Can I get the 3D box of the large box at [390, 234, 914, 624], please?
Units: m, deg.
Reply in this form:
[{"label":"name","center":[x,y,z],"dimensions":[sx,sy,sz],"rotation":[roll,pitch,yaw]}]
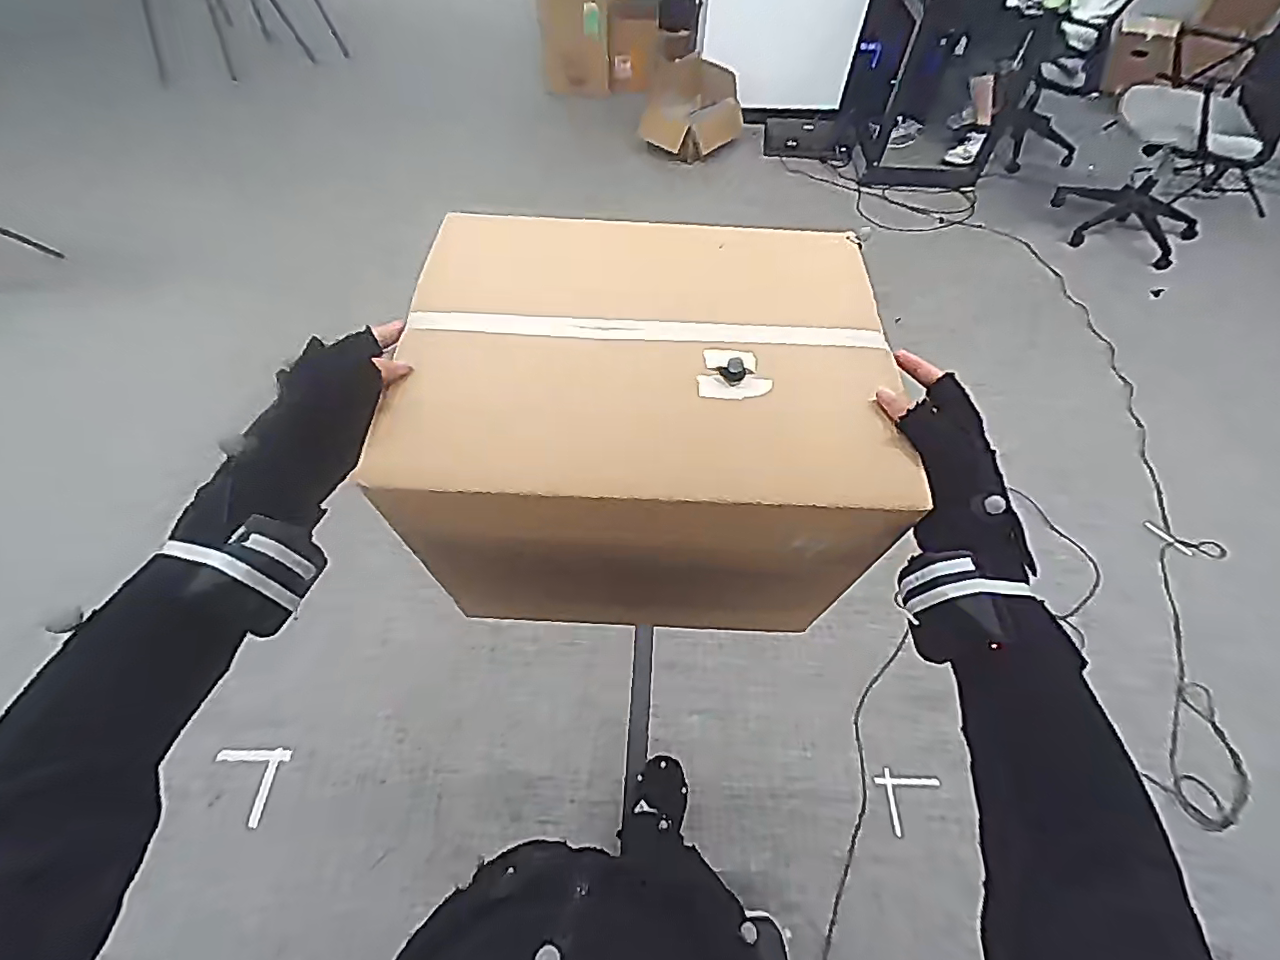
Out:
[{"label":"large box","center":[0.007,-0.037,0.606],"dimensions":[0.408,0.320,0.320],"rotation":[3,59,-1]}]
